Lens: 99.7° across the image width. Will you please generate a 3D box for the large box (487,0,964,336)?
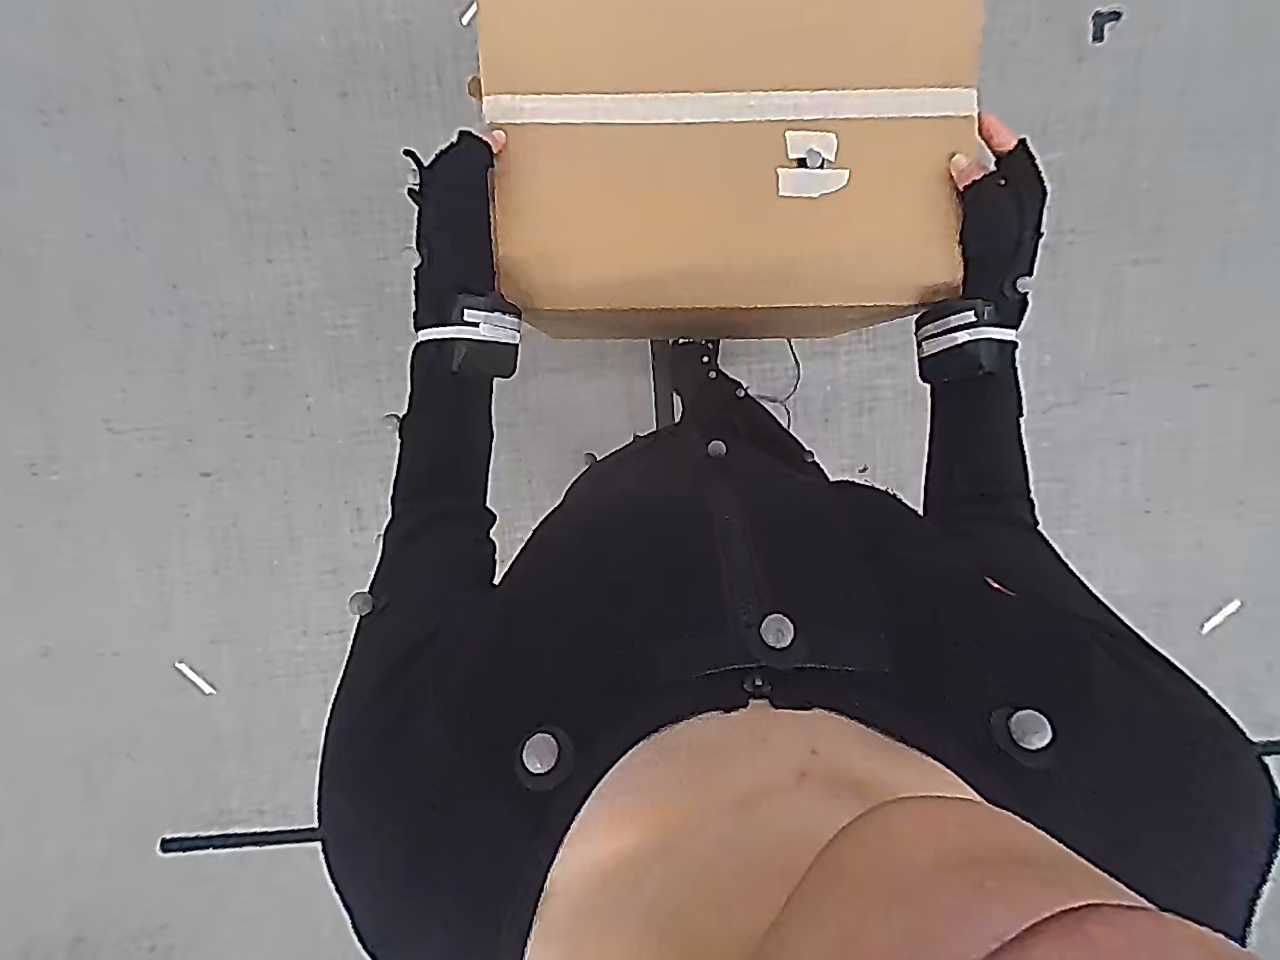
[{"bbox_3d":[0.070,-0.341,0.609,0.408,0.320,0.320,-1,100,-1],"label":"large box"}]
